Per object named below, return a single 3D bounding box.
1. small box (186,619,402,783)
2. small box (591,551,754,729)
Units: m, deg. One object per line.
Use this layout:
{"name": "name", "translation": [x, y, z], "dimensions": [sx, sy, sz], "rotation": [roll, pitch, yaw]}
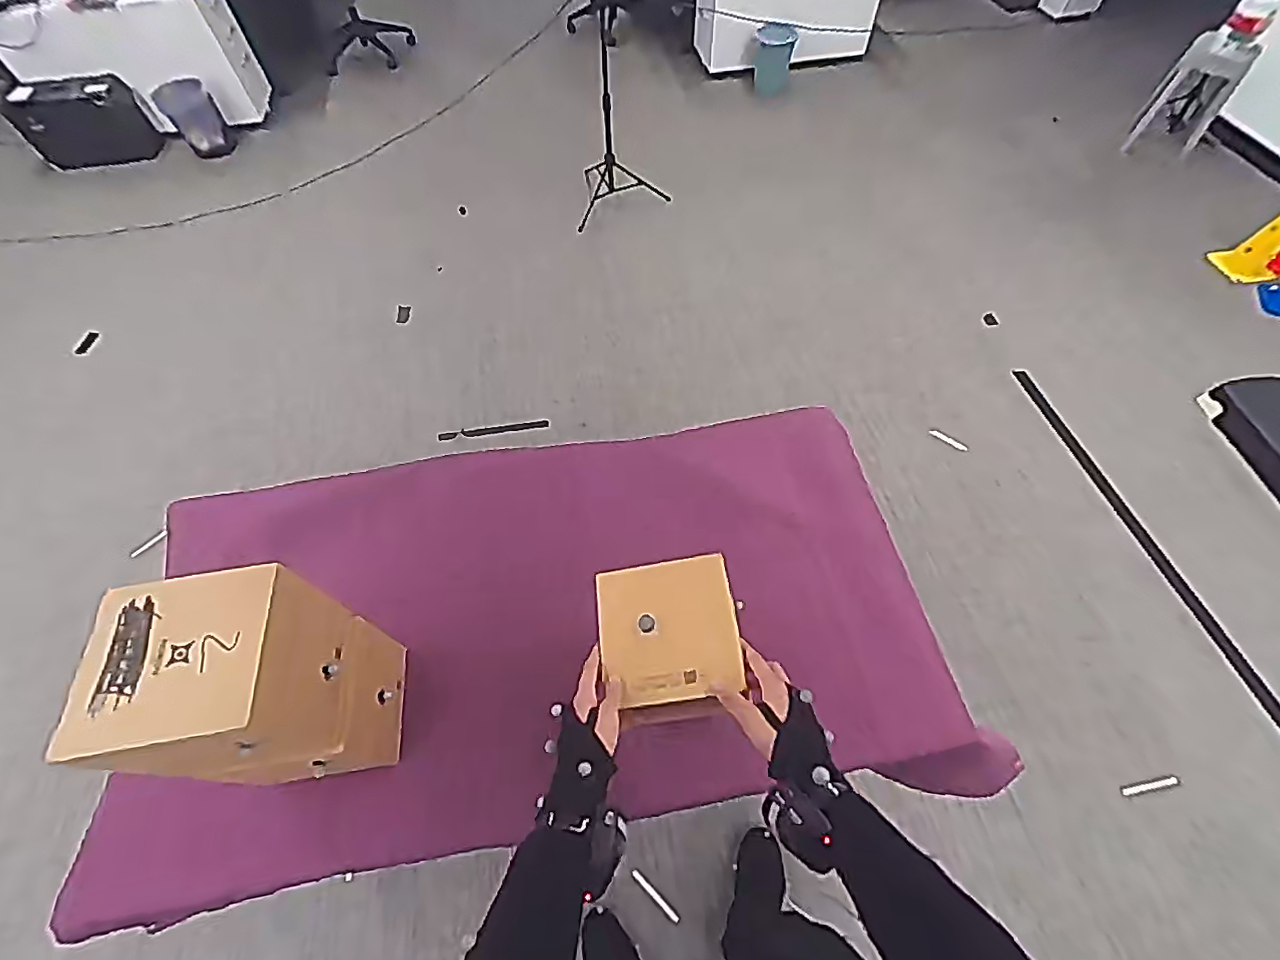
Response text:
{"name": "small box", "translation": [-0.440, 0.301, 0.727], "dimensions": [0.179, 0.176, 0.168], "rotation": [-8, 59, -4]}
{"name": "small box", "translation": [0.046, 0.216, 0.704], "dimensions": [0.168, 0.179, 0.176], "rotation": [-13, 58, 9]}
